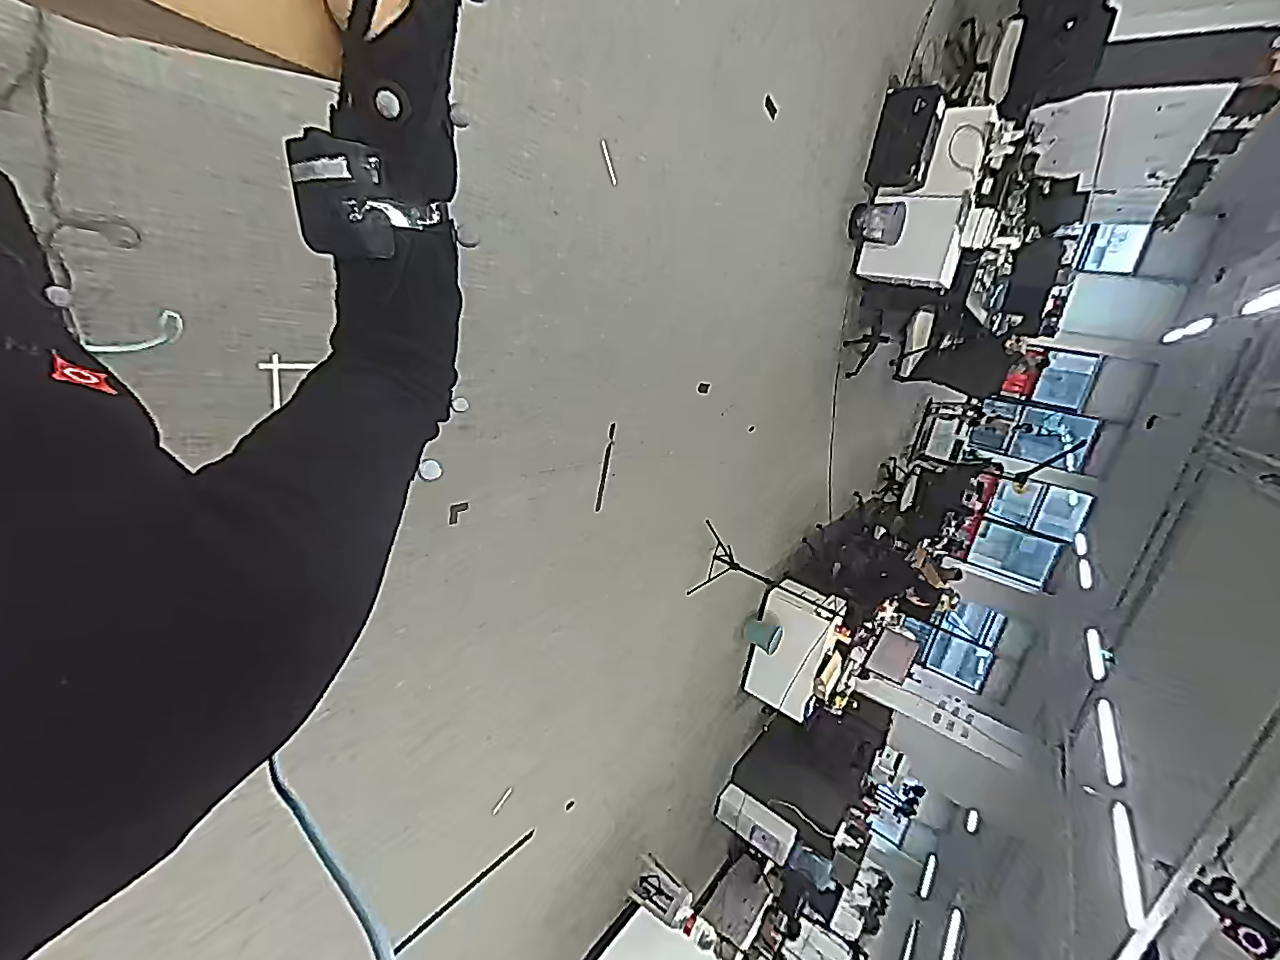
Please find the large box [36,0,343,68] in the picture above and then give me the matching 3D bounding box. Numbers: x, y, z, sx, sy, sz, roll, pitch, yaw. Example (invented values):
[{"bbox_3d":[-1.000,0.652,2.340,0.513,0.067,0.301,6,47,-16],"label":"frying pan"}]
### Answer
[{"bbox_3d":[-0.356,-0.387,0.145,0.408,0.320,0.320,-21,134,-57],"label":"large box"}]
